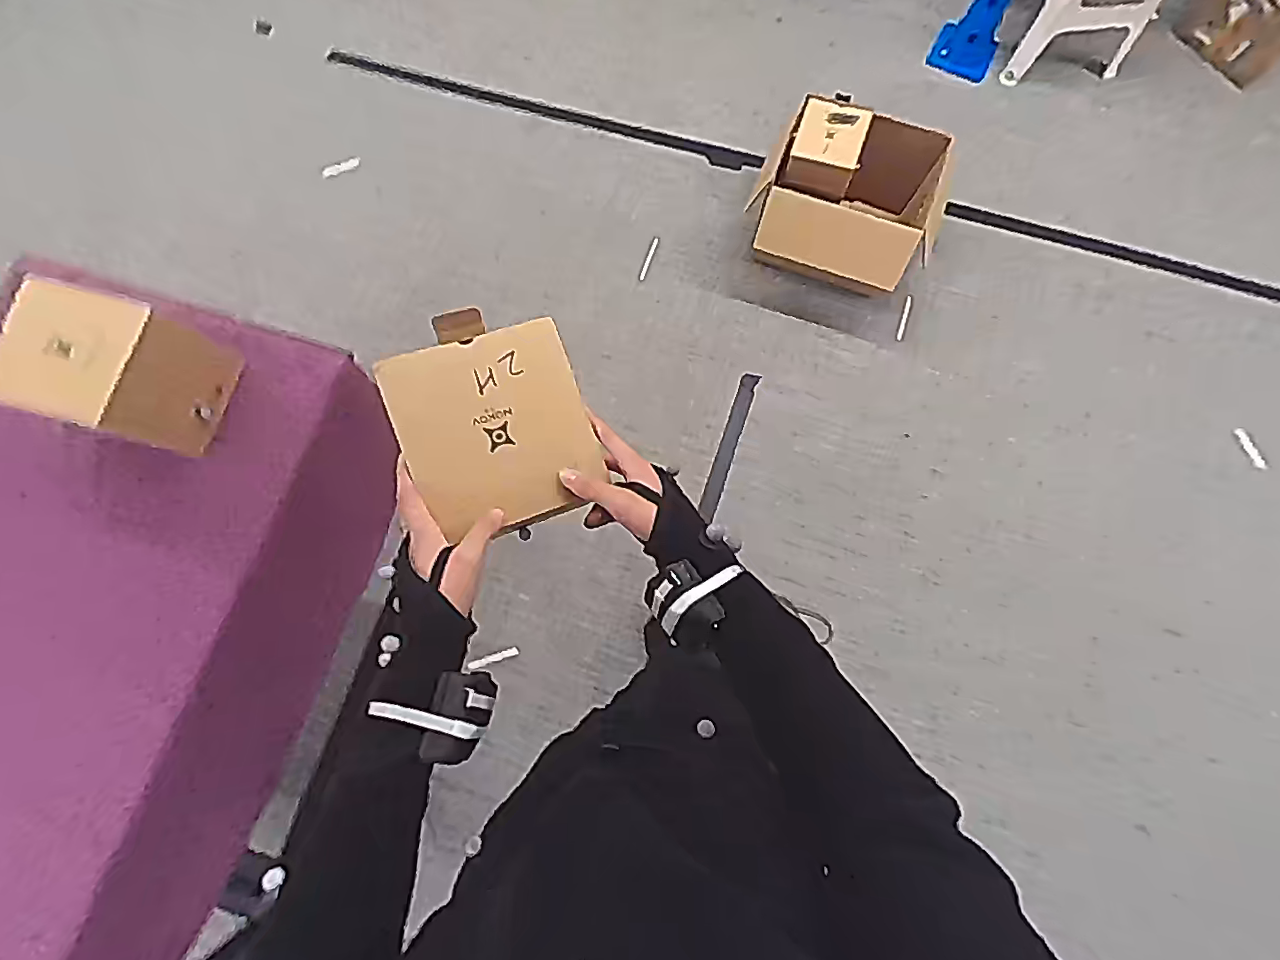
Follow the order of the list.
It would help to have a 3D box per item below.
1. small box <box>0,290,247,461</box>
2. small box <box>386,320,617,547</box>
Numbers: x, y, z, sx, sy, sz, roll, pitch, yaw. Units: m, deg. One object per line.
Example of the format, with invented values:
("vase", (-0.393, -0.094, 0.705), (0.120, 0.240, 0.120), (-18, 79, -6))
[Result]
("small box", (-0.719, -0.137, 0.763), (0.179, 0.176, 0.168), (14, 79, 5))
("small box", (-0.140, -0.038, 0.567), (0.168, 0.176, 0.179), (-19, 87, -16))
